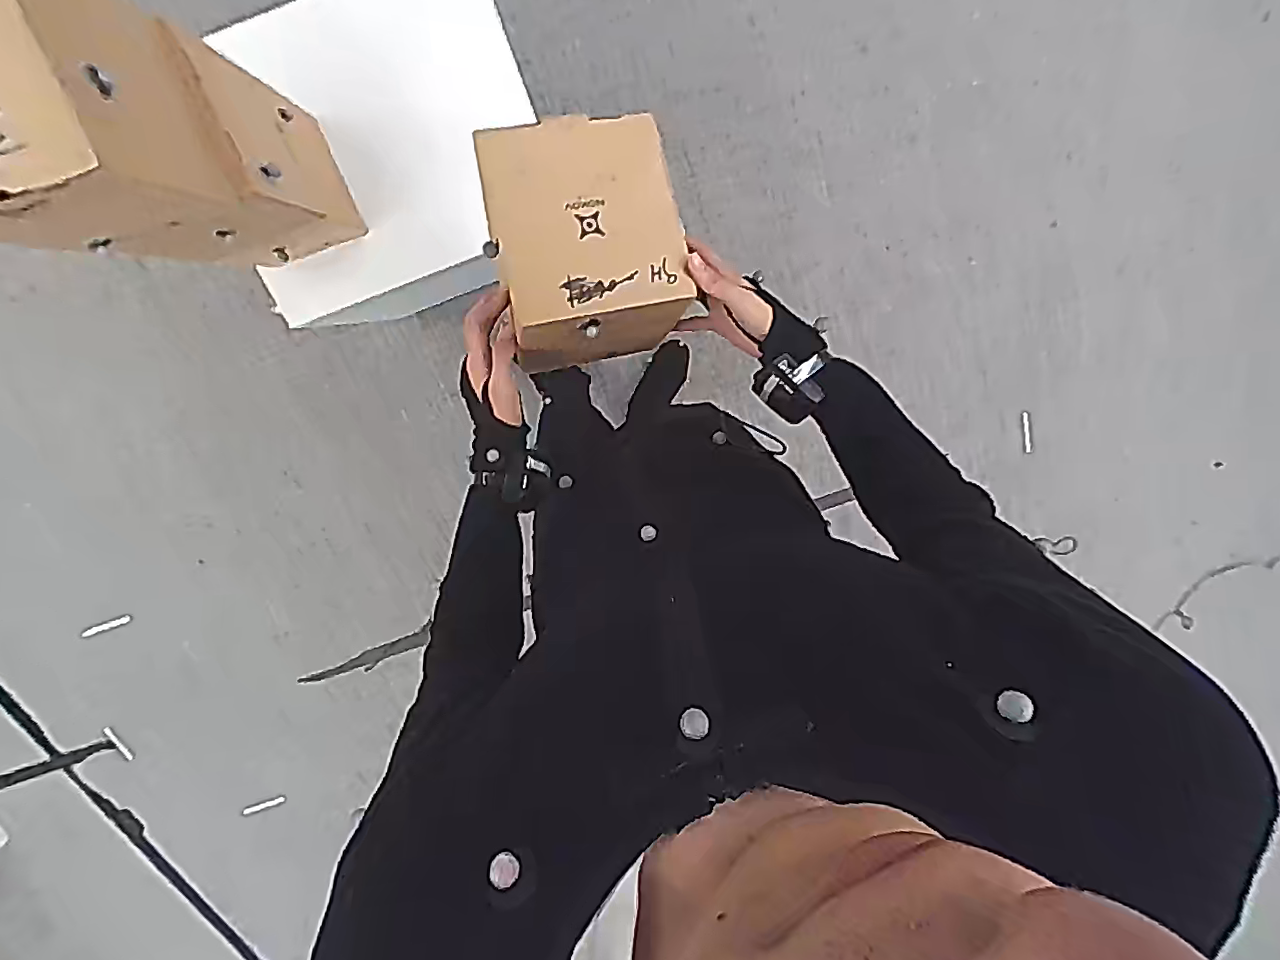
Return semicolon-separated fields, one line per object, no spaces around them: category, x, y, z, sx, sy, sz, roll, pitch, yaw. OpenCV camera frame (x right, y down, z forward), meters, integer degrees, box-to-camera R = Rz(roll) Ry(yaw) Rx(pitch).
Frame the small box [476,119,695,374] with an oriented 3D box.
small box;-0.062;-0.224;0.553;0.168;0.176;0.179;-13;90;-12

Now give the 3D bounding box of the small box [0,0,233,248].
small box;-0.504;-0.308;0.458;0.168;0.176;0.179;-17;108;0

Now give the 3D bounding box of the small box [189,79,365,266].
small box;-0.529;-0.416;0.768;0.168;0.176;0.179;-20;108;0
